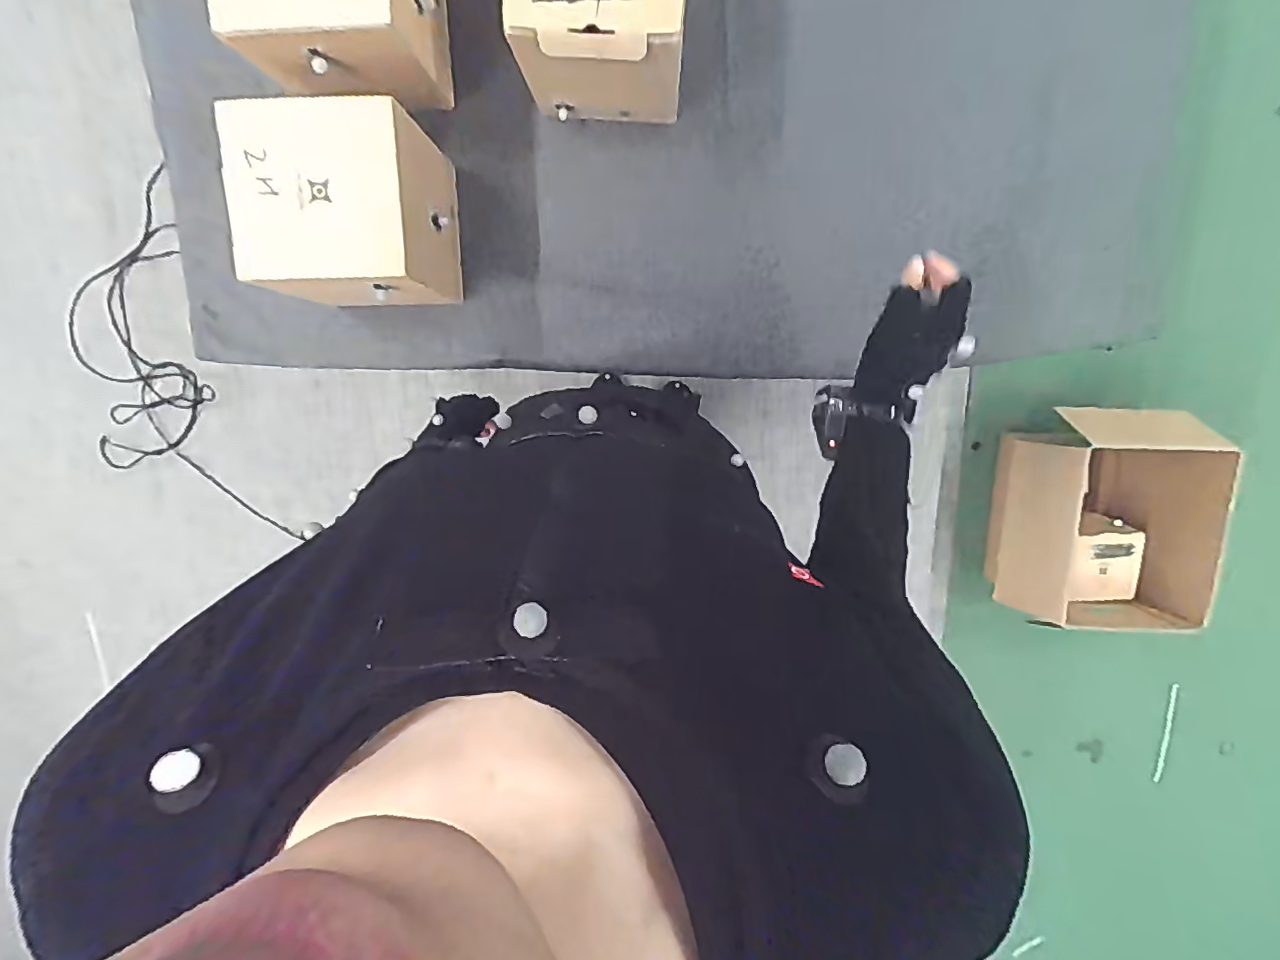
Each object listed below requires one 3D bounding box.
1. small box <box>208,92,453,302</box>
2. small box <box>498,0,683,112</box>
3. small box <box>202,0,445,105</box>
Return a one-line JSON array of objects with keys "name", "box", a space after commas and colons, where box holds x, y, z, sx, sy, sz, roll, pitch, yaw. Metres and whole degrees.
[{"name": "small box", "box": [-0.318, -0.297, 0.599, 0.179, 0.176, 0.168, 0, 100, 2]}, {"name": "small box", "box": [-0.039, -0.508, 0.550, 0.168, 0.176, 0.179, 4, 101, 1]}, {"name": "small box", "box": [-0.316, -0.517, 0.561, 0.179, 0.176, 0.168, -1, 101, 3]}]
